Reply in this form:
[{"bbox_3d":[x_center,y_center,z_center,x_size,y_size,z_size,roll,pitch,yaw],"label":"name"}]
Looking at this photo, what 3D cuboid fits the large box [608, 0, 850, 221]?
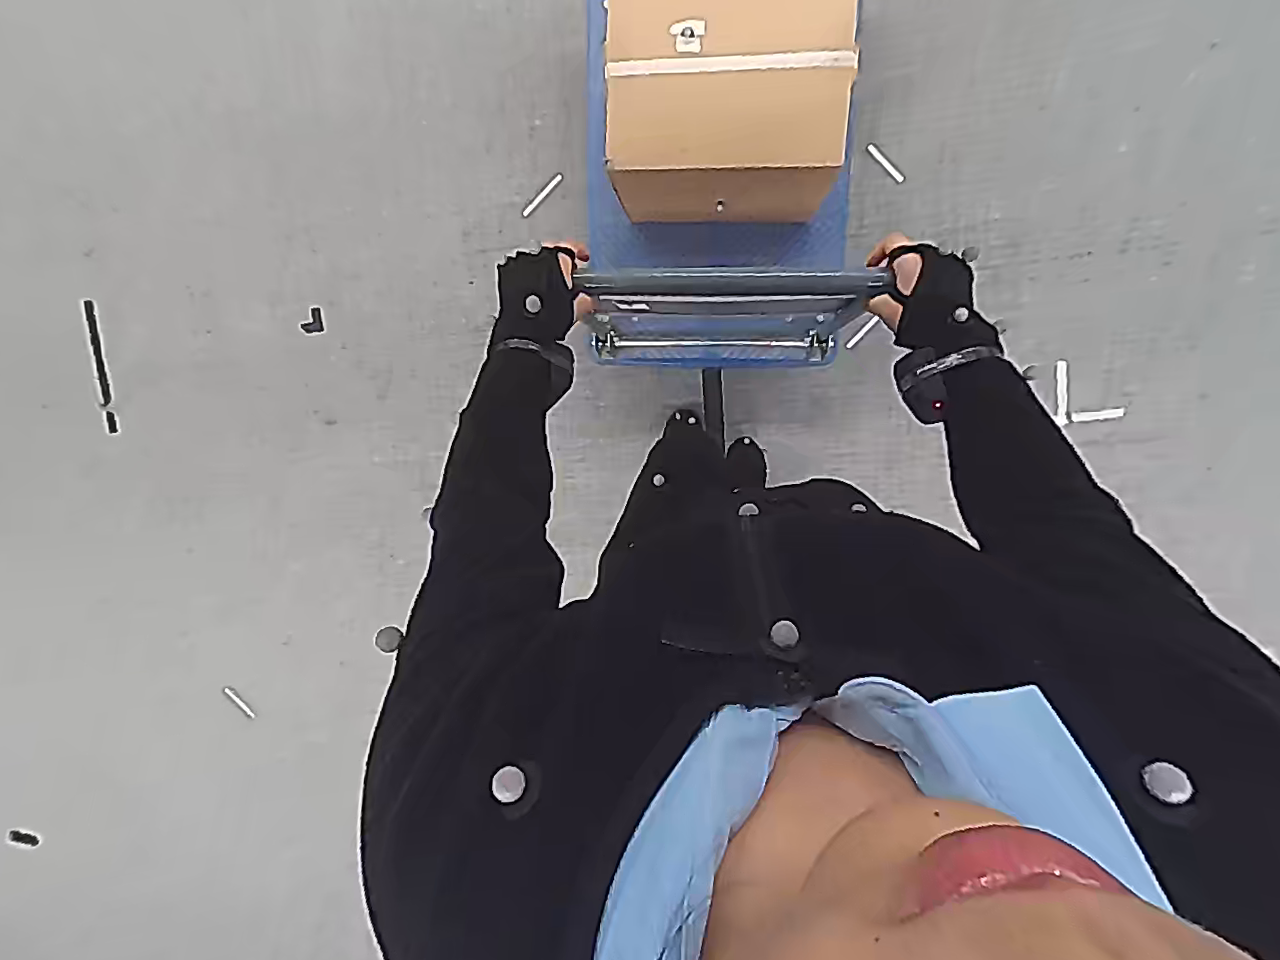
[{"bbox_3d":[0.164,-0.714,1.056,0.408,0.320,0.320,3,99,8],"label":"large box"}]
